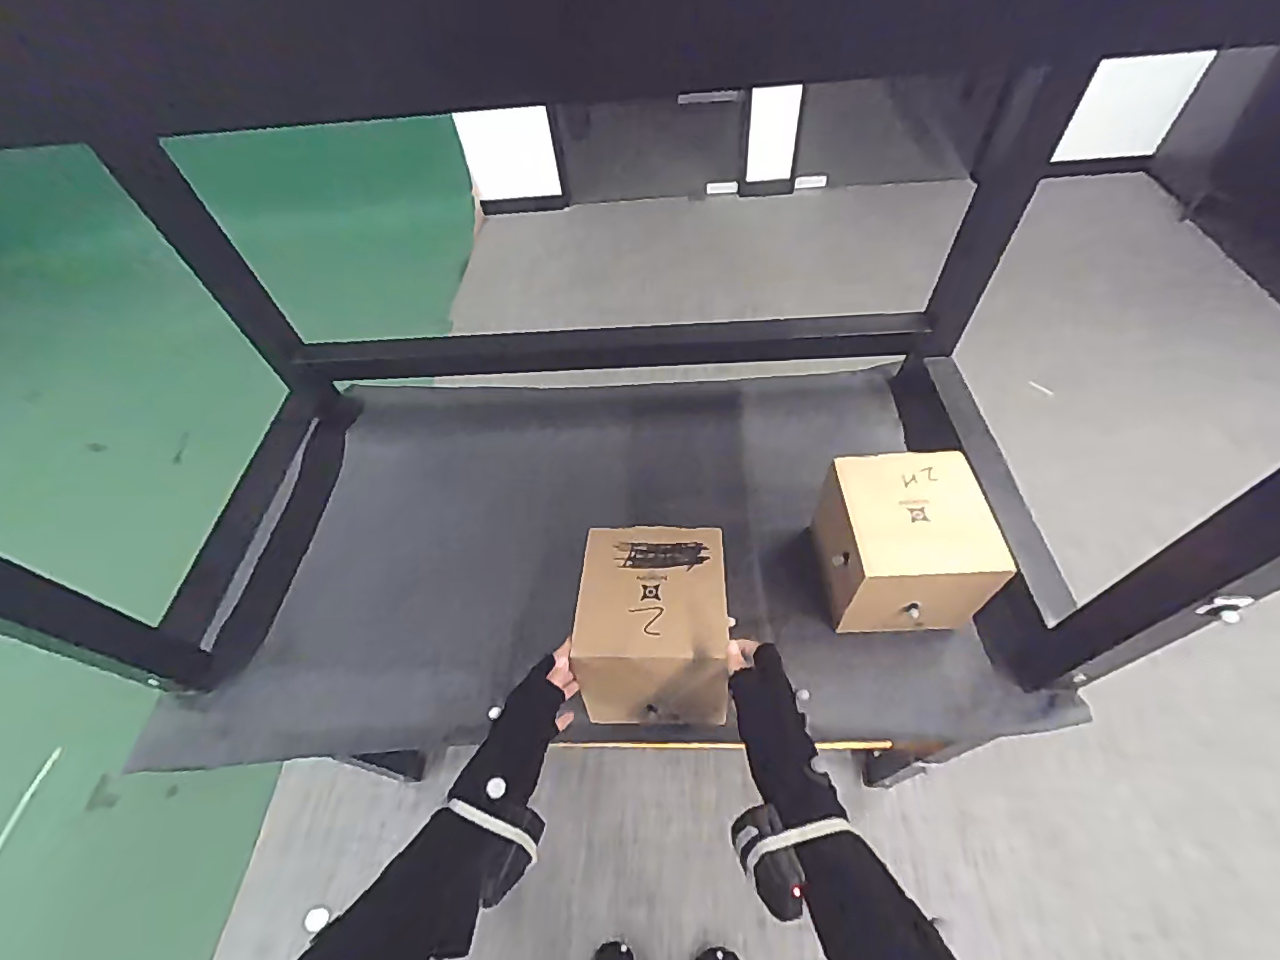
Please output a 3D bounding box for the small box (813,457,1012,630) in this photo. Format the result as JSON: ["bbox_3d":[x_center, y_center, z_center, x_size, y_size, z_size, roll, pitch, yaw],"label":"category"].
[{"bbox_3d":[0.339,0.091,0.717,0.168,0.176,0.179,-3,52,3],"label":"small box"}]
